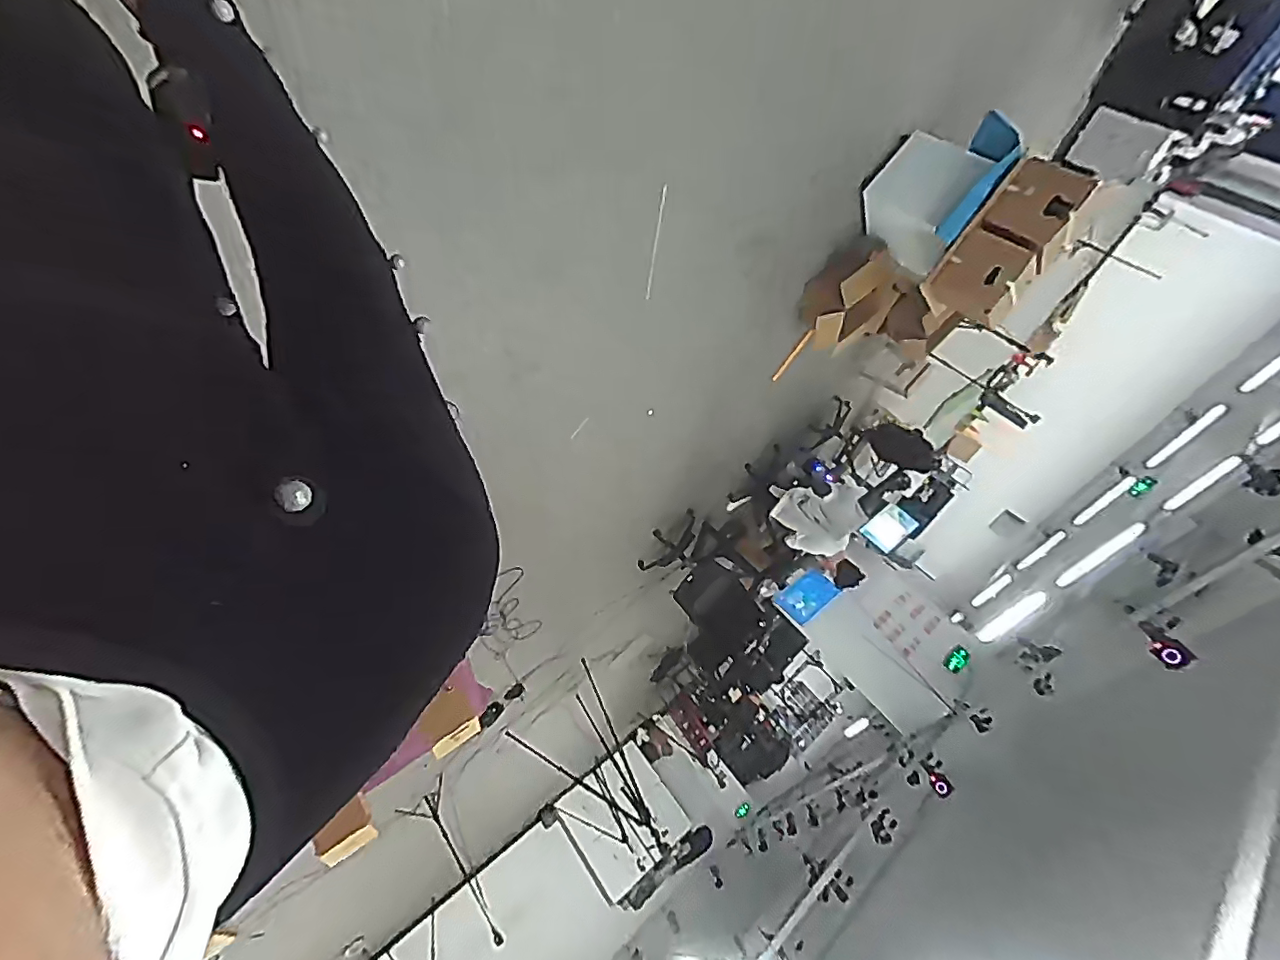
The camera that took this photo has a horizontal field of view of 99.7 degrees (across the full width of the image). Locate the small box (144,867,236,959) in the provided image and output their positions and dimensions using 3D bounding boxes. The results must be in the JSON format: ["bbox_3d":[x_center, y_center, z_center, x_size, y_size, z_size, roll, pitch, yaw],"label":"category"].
[{"bbox_3d":[-1.422,1.361,1.701,0.168,0.176,0.179,-31,151,-29],"label":"small box"}]

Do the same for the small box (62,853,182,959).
[{"bbox_3d":[-1.370,1.132,1.434,0.168,0.176,0.179,-28,150,-31],"label":"small box"}]

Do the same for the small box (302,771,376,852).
[{"bbox_3d":[-1.070,1.174,1.922,0.168,0.176,0.179,-26,147,-30],"label":"small box"}]

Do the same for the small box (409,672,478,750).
[{"bbox_3d":[-0.686,0.799,1.887,0.168,0.176,0.179,-27,151,-29],"label":"small box"}]
